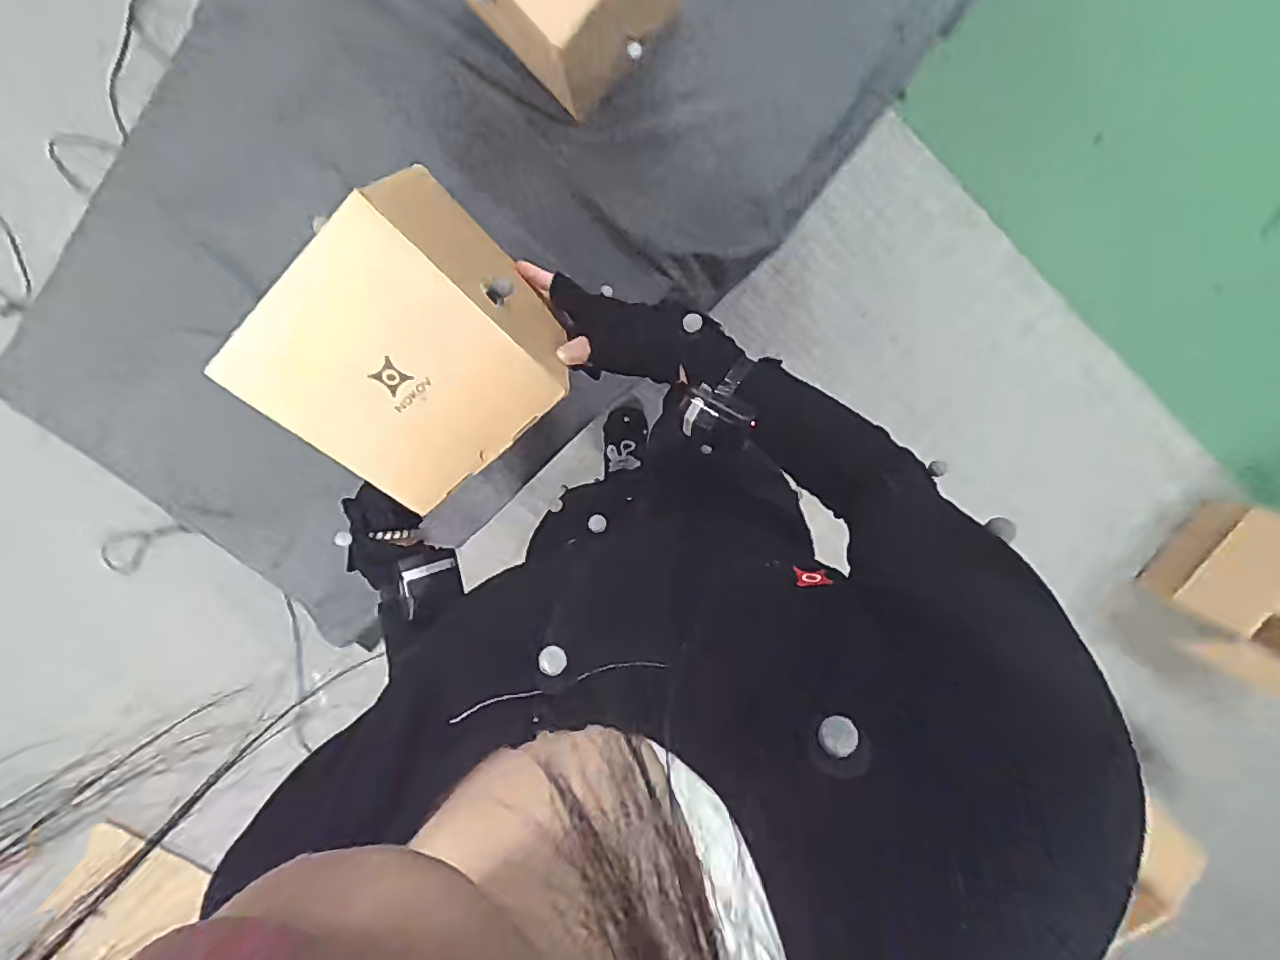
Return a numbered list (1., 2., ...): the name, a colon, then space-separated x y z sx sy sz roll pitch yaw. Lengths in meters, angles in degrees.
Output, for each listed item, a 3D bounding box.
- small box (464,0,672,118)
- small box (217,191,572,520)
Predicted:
1. small box: -0.080 -0.506 0.524 0.179 0.176 0.168 43 101 -10
2. small box: -0.176 -0.107 0.442 0.168 0.176 0.179 -37 123 16
